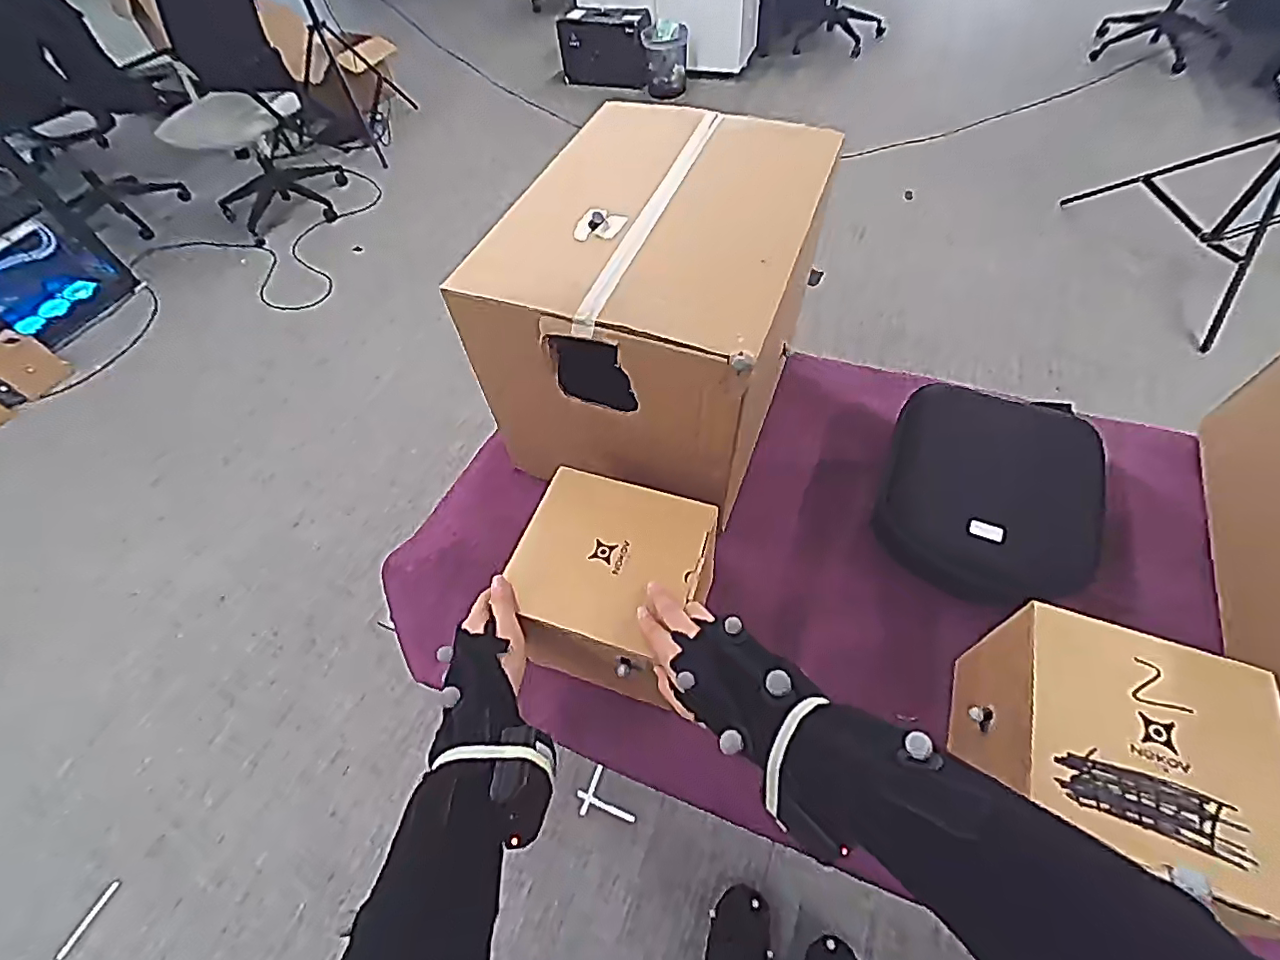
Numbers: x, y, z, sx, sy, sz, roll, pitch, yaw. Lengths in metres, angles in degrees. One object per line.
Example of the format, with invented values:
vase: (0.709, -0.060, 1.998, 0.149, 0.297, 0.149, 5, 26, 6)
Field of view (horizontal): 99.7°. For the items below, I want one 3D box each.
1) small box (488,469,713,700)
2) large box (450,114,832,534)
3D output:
small box: (-0.029, 0.116, 0.582, 0.179, 0.176, 0.168, 13, 57, 13)
large box: (0.029, -0.204, 0.712, 0.320, 0.320, 0.408, 16, 61, 14)
